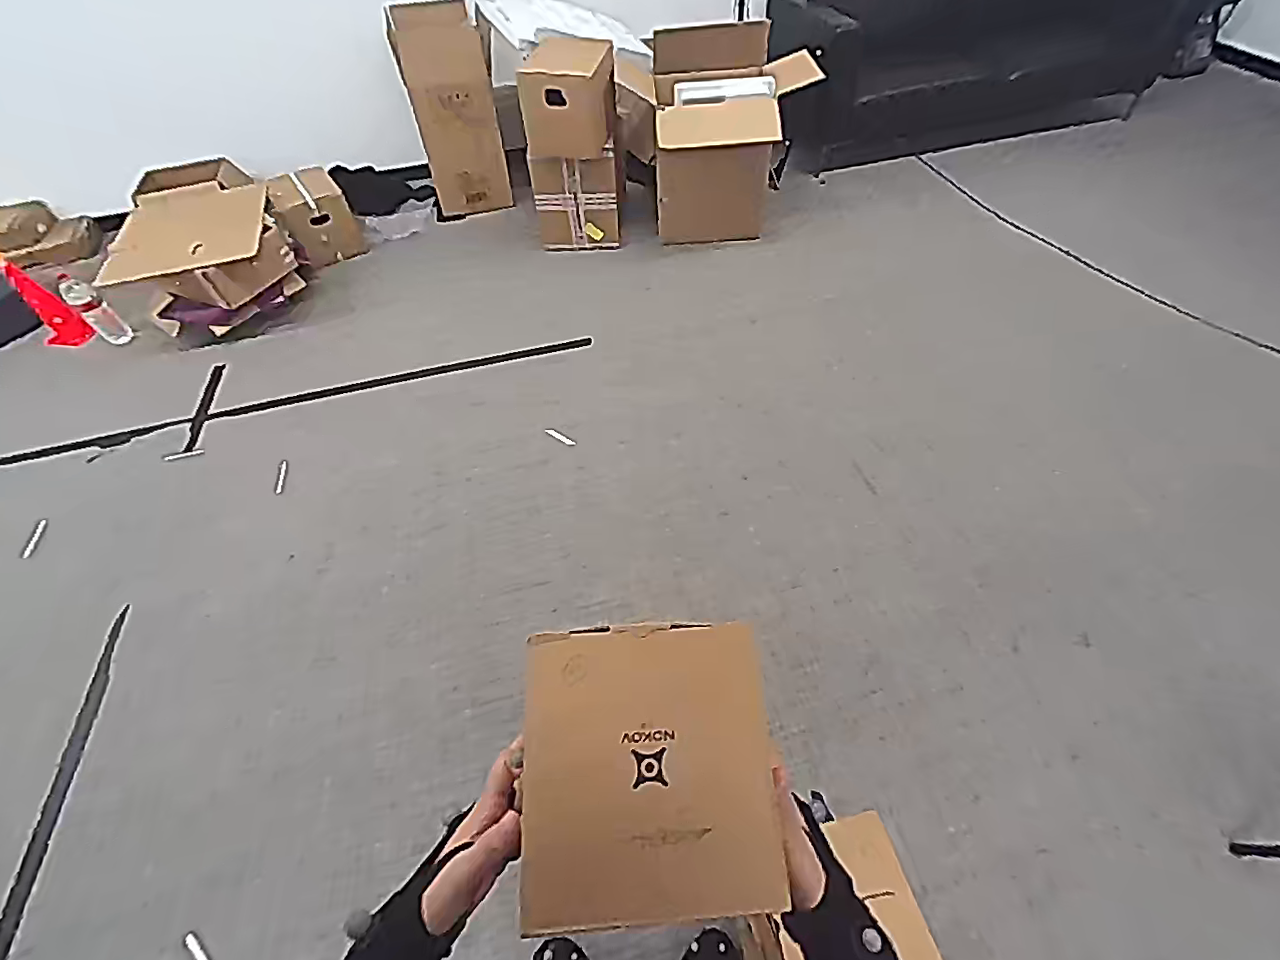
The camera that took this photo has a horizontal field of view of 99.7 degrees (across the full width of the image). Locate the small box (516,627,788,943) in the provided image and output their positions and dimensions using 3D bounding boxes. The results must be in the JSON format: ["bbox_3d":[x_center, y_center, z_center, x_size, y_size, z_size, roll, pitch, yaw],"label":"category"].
[{"bbox_3d":[-0.001,0.221,0.426,0.168,0.176,0.179,-2,66,-4],"label":"small box"}]

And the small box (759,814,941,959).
[{"bbox_3d":[0.245,0.558,0.701,0.179,0.176,0.168,-11,52,-6],"label":"small box"}]
